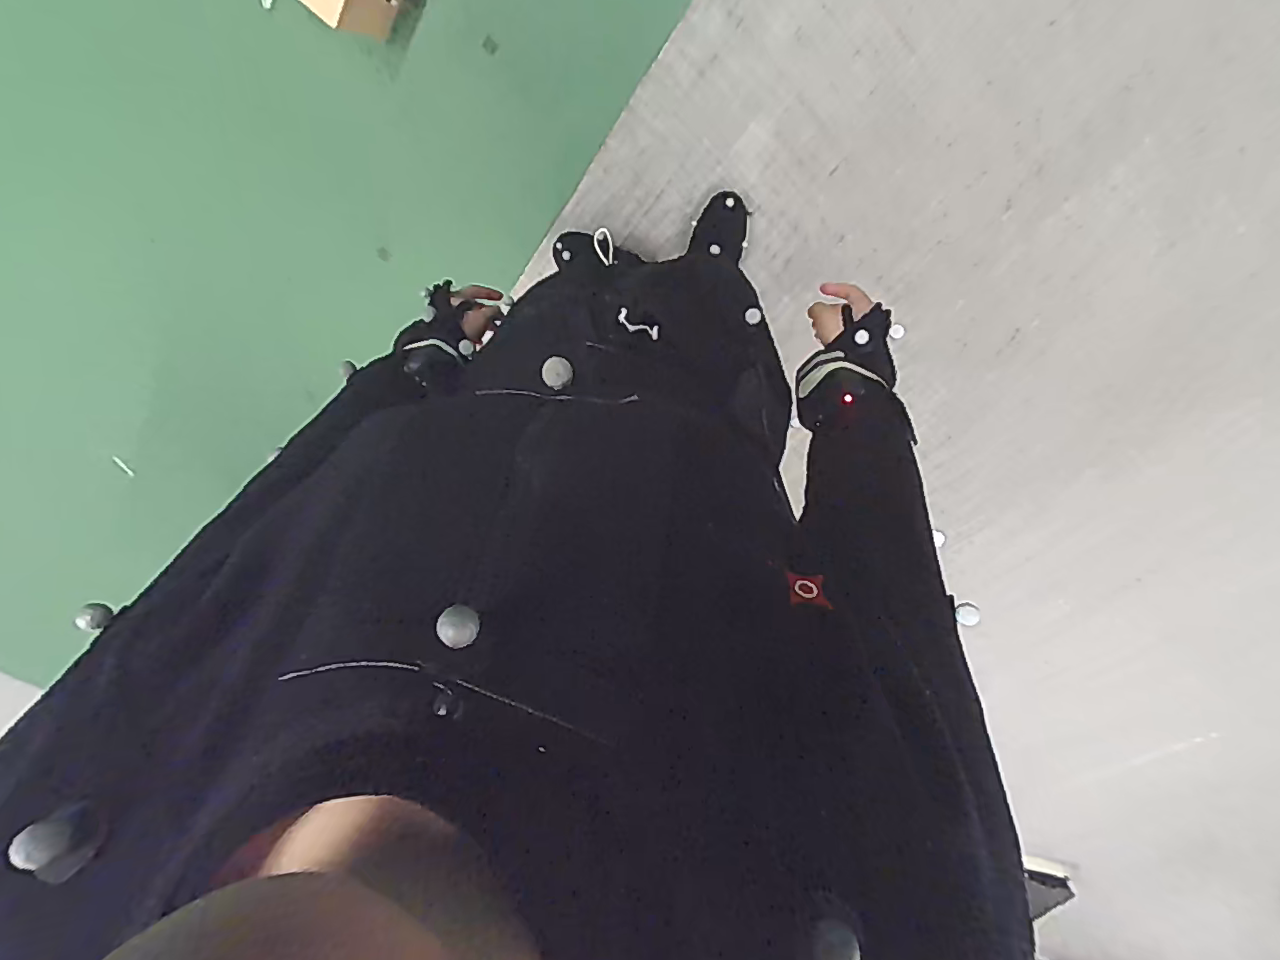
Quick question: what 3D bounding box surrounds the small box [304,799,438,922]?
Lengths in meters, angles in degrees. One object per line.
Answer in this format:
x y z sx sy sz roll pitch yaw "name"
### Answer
-0.562 0.820 1.149 0.168 0.176 0.179 38 119 -16 "small box"
